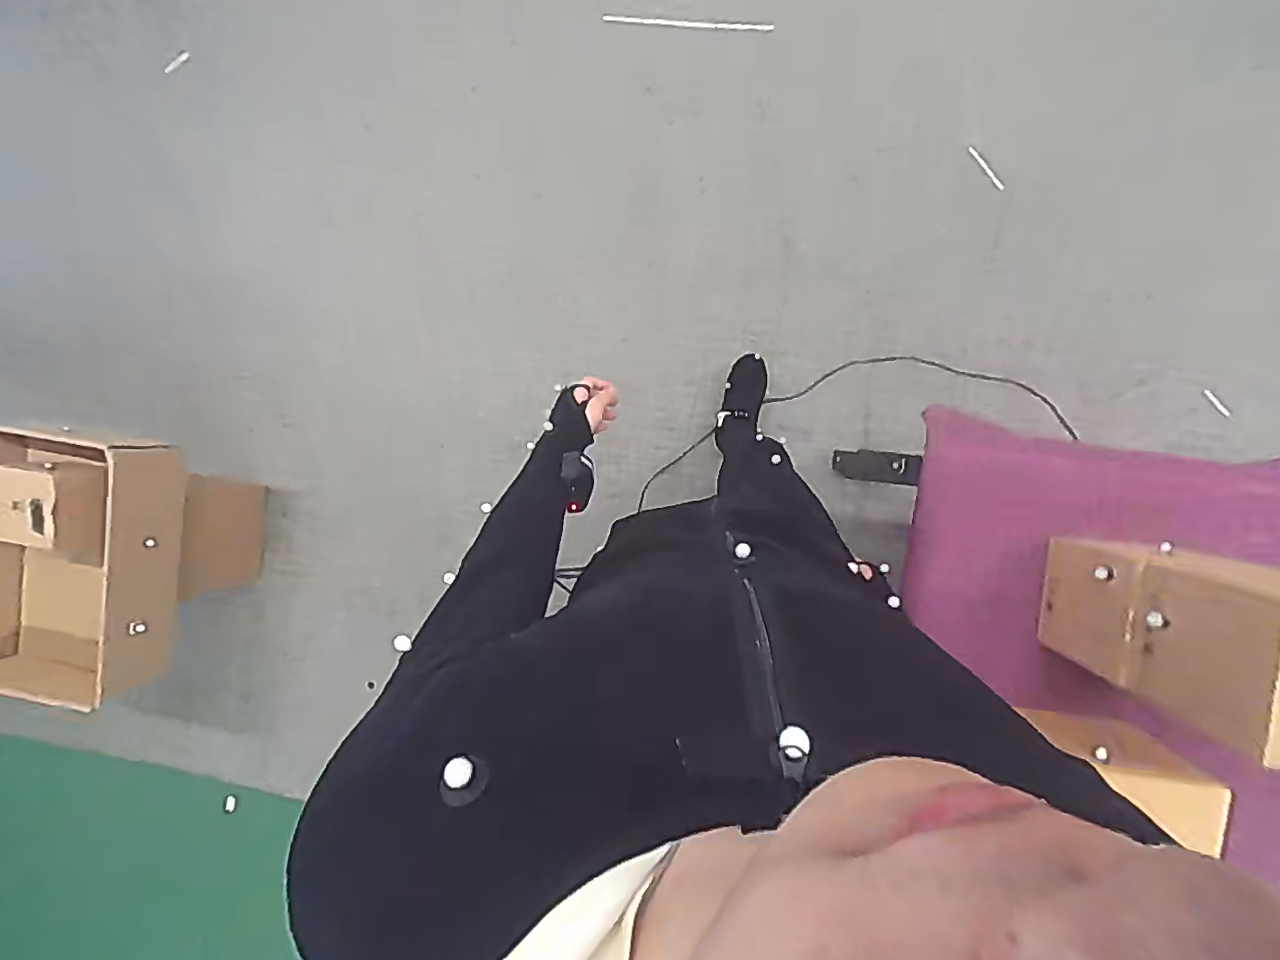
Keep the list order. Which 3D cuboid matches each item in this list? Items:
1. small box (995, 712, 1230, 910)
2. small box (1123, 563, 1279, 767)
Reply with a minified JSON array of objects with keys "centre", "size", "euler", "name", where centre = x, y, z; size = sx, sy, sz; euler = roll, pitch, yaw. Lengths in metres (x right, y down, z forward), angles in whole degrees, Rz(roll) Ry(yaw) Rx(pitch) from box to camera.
[{"centre":[0.652,0.454,0.769],"size":[0.179,0.176,0.168],"euler":[6,94,6],"name":"small box"},{"centre":[0.687,0.192,0.581],"size":[0.179,0.176,0.168],"euler":[5,94,5],"name":"small box"}]
